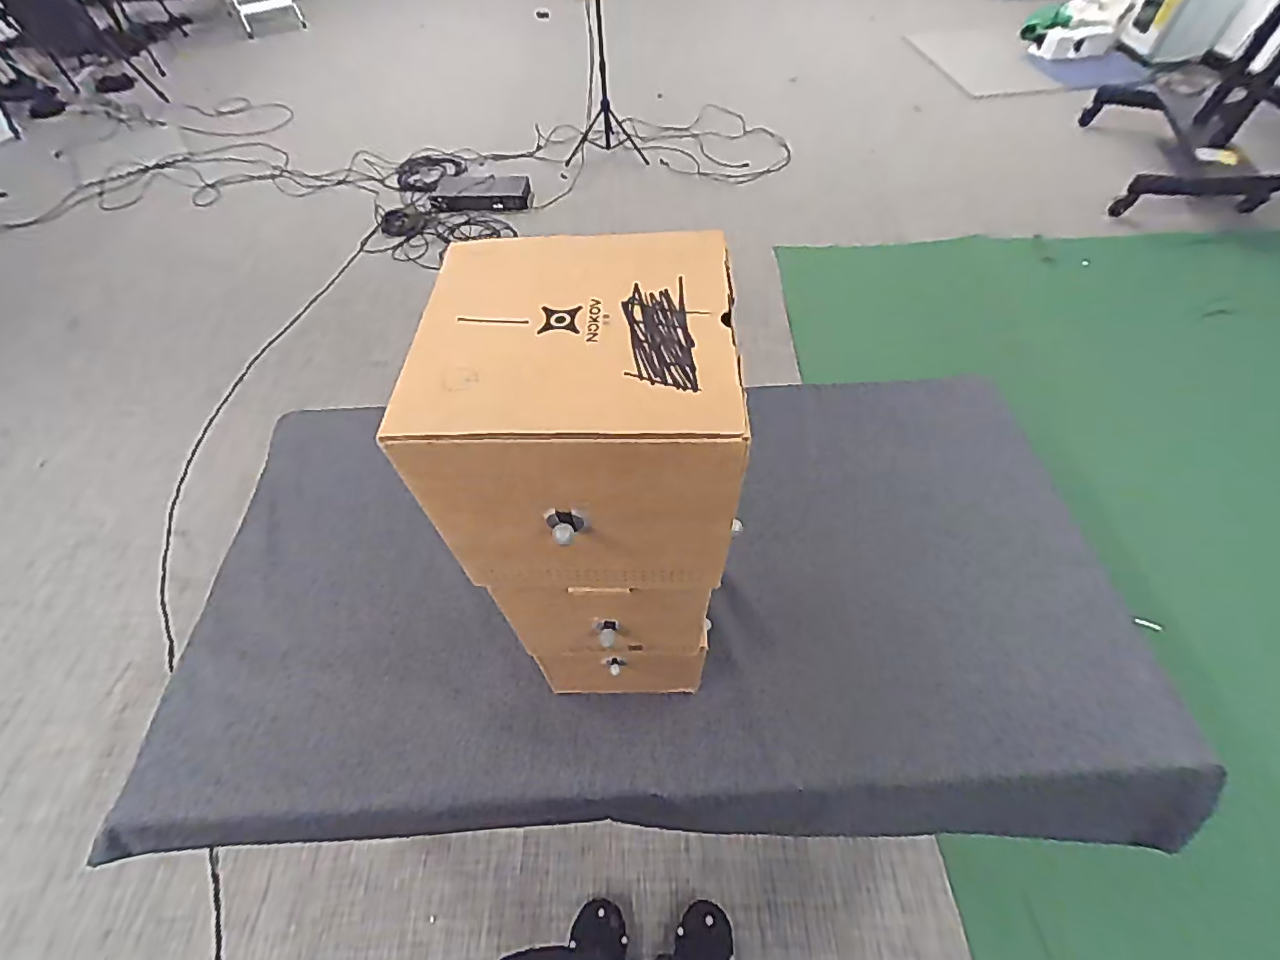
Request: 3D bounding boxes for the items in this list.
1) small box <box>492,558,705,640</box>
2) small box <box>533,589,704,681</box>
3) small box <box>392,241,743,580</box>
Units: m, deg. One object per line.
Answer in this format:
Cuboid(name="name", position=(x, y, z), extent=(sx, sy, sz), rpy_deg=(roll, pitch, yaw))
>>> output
Cuboid(name="small box", position=(-0.027, 0.046, 0.515), extent=(0.168, 0.176, 0.179), rpy_deg=(-1, 56, 1))
Cuboid(name="small box", position=(-0.019, 0.138, 0.650), extent=(0.179, 0.176, 0.168), rpy_deg=(-1, 56, 0))
Cuboid(name="small box", position=(-0.032, -0.040, 0.373), extent=(0.179, 0.176, 0.168), rpy_deg=(0, 55, 3))
